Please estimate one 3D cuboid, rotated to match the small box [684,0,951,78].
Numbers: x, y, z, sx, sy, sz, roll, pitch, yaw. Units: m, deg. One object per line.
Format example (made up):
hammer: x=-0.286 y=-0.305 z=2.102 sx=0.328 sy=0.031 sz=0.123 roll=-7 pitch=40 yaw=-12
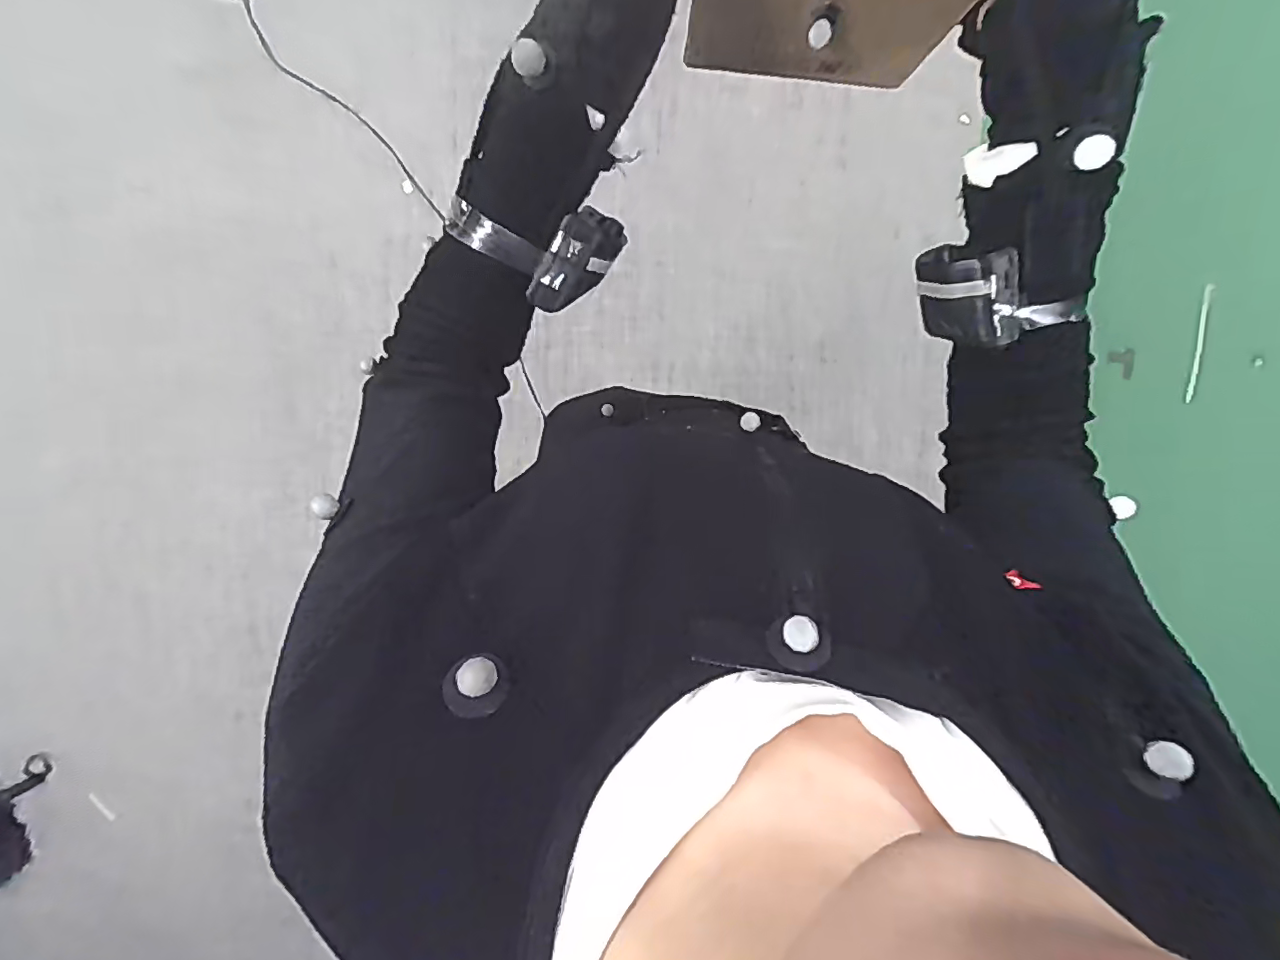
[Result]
small box: x=0.117 y=-0.372 z=0.313 sx=0.168 sy=0.176 sz=0.179 roll=5 pitch=103 yaw=0
